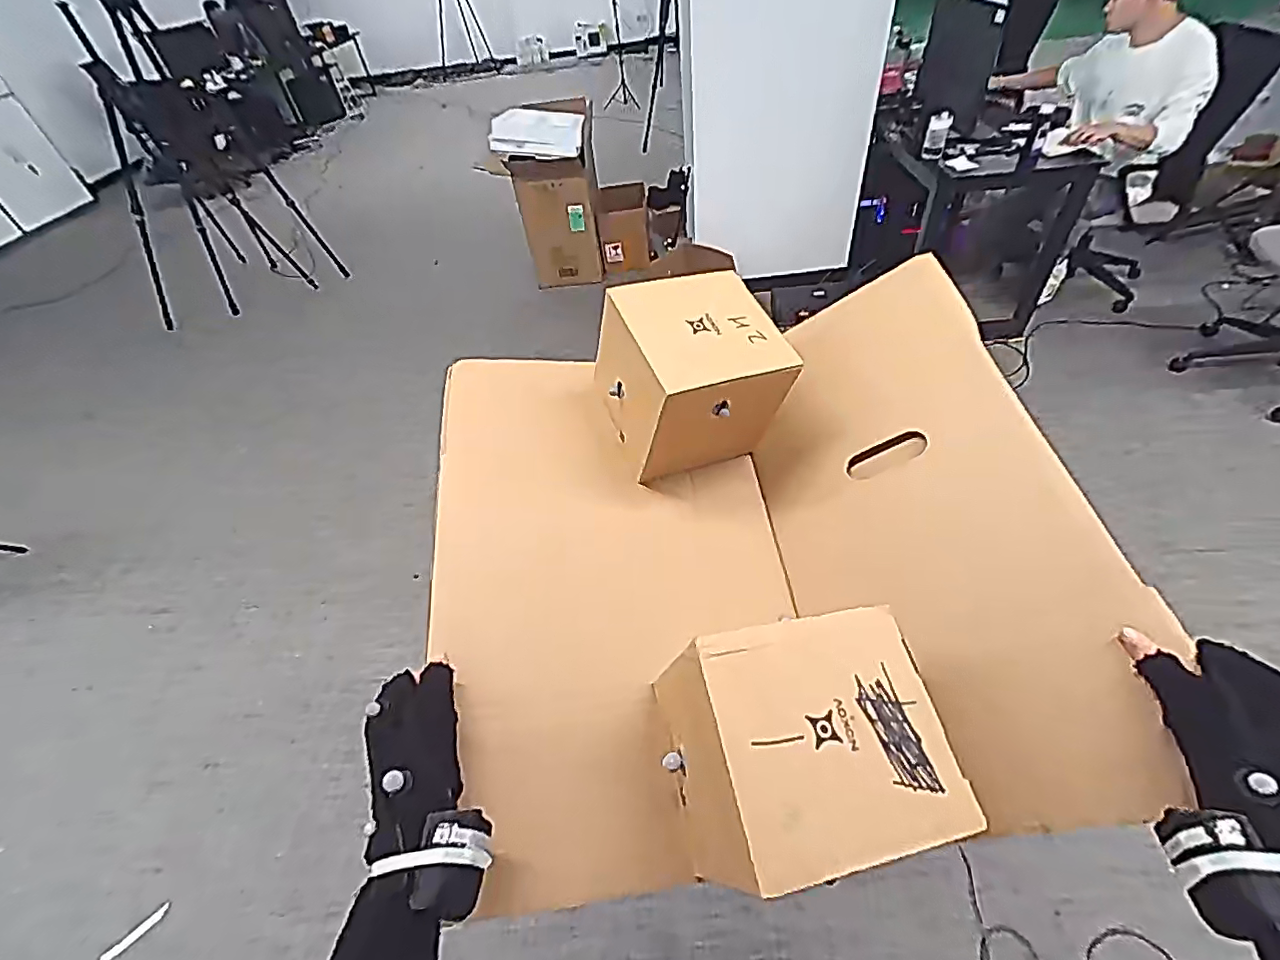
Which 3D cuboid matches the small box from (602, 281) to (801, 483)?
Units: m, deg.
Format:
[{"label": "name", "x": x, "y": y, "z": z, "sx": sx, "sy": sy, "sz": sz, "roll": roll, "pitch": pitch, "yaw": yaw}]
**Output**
[{"label": "small box", "x": 0.059, "y": -0.117, "z": 0.671, "sx": 0.179, "sy": 0.176, "sz": 0.168, "roll": -15, "pitch": 62, "yaw": -21}]
